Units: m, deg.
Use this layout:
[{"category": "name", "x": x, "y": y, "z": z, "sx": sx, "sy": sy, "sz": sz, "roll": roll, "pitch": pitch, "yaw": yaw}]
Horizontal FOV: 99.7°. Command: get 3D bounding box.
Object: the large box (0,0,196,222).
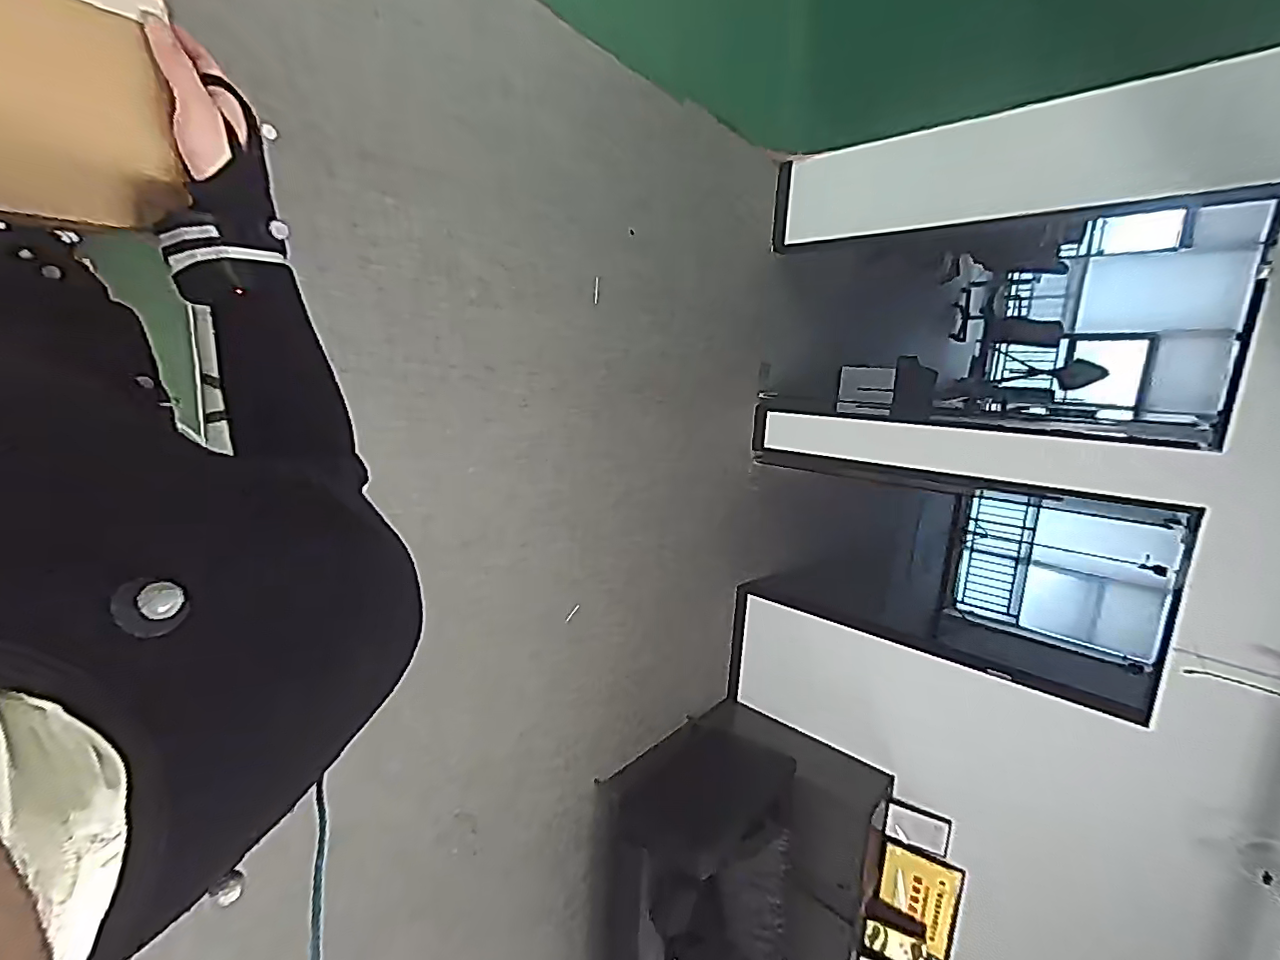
[{"category": "large box", "x": -0.612, "y": -0.378, "z": 0.365, "sx": 0.408, "sy": 0.320, "sz": 0.320, "roll": -14, "pitch": 117, "yaw": -49}]
